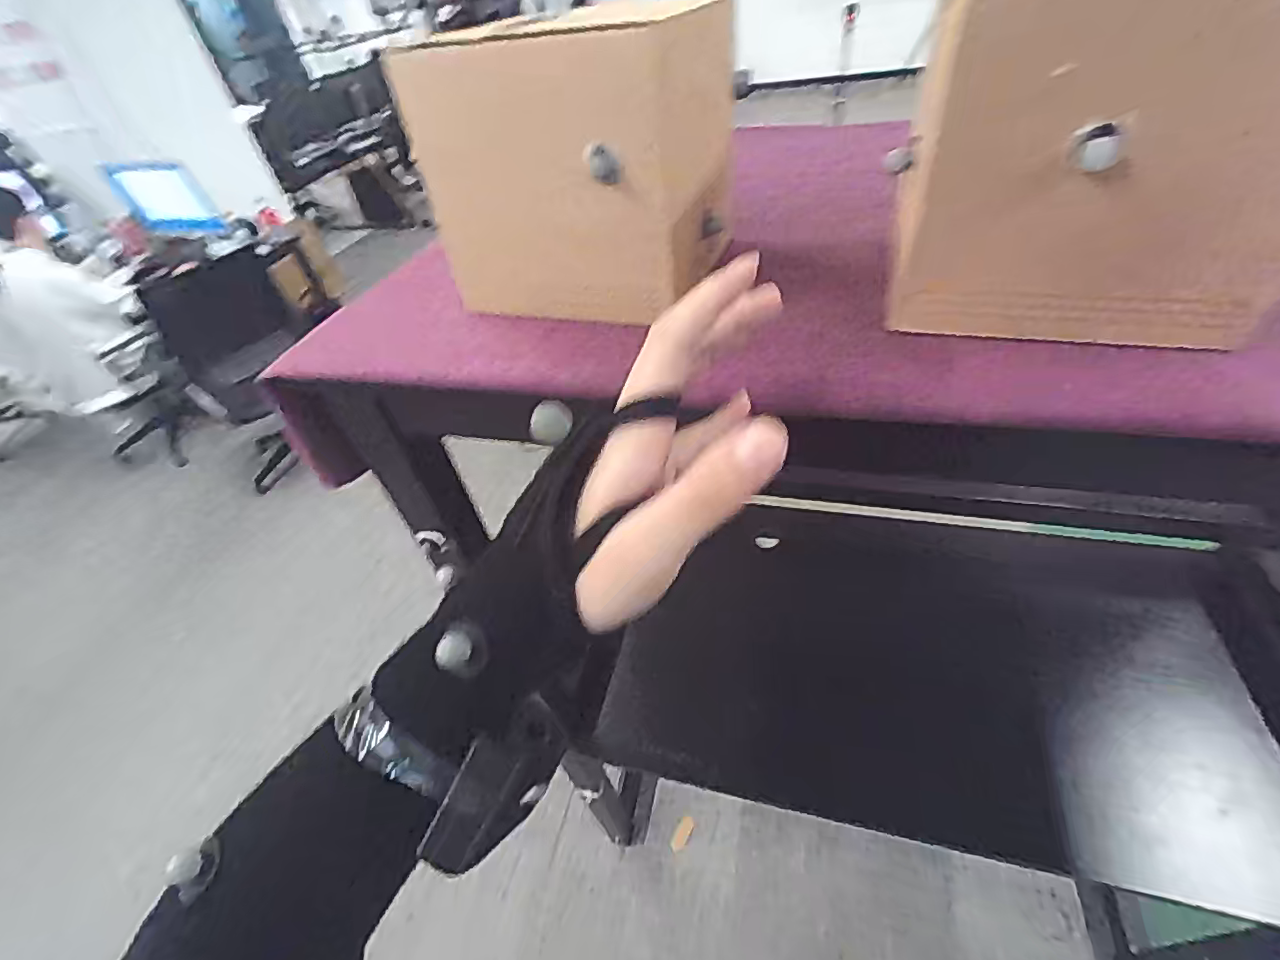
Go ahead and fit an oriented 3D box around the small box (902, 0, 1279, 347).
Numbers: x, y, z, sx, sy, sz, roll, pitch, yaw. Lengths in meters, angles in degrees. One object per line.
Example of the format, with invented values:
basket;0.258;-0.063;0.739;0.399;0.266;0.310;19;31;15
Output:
small box;0.257;-0.190;0.309;0.179;0.176;0.168;8;47;19
